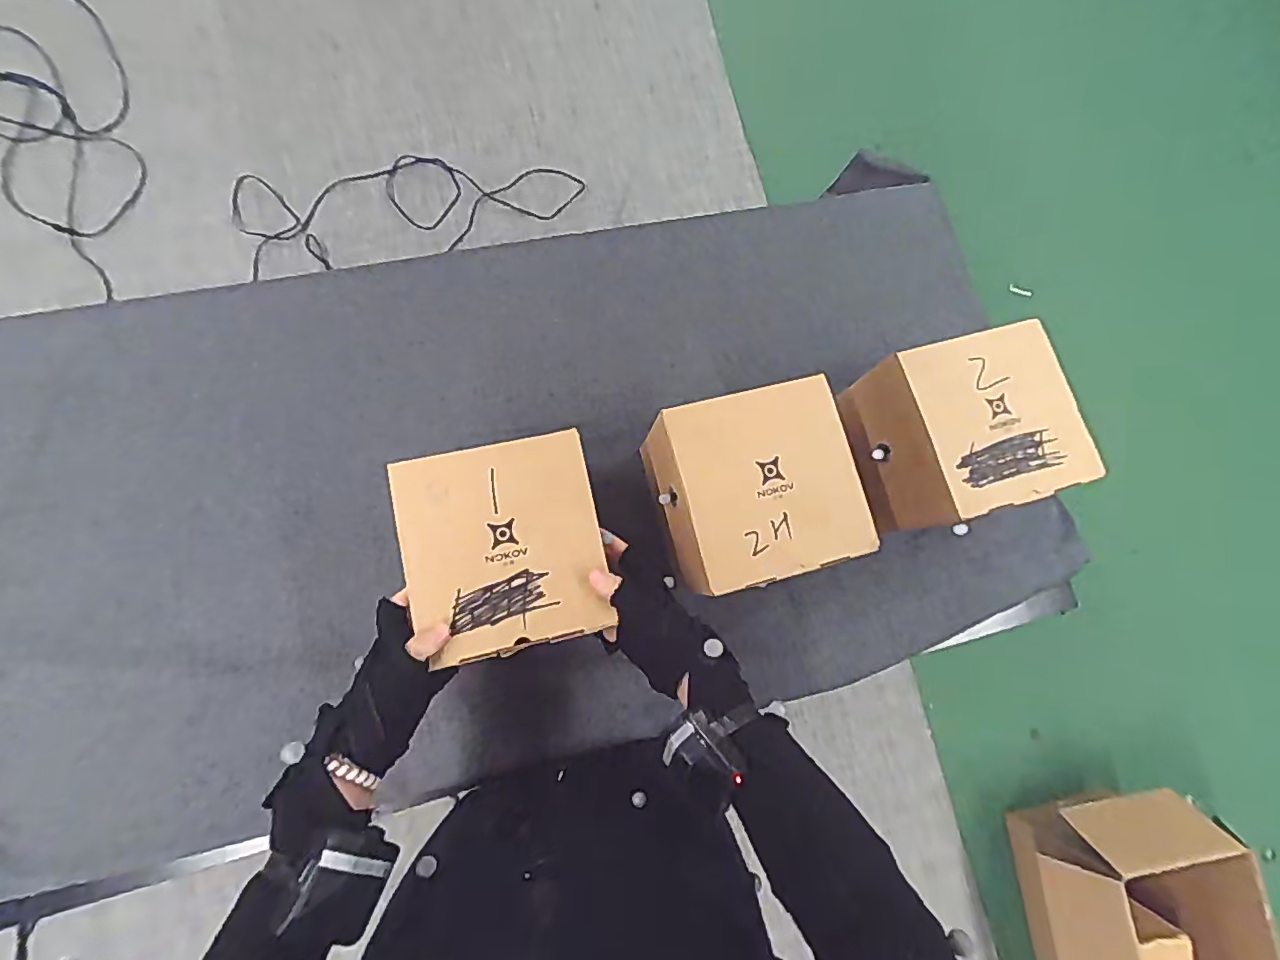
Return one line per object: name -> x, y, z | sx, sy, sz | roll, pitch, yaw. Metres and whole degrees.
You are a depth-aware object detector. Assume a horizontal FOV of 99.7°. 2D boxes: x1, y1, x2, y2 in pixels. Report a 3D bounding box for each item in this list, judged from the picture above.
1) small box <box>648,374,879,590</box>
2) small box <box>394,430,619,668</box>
small box -> 0.112, 0.012, 0.572 | 0.168, 0.176, 0.179 | -14, 82, -8
small box -> -0.121, 0.066, 0.534 | 0.168, 0.176, 0.179 | -11, 81, -9
